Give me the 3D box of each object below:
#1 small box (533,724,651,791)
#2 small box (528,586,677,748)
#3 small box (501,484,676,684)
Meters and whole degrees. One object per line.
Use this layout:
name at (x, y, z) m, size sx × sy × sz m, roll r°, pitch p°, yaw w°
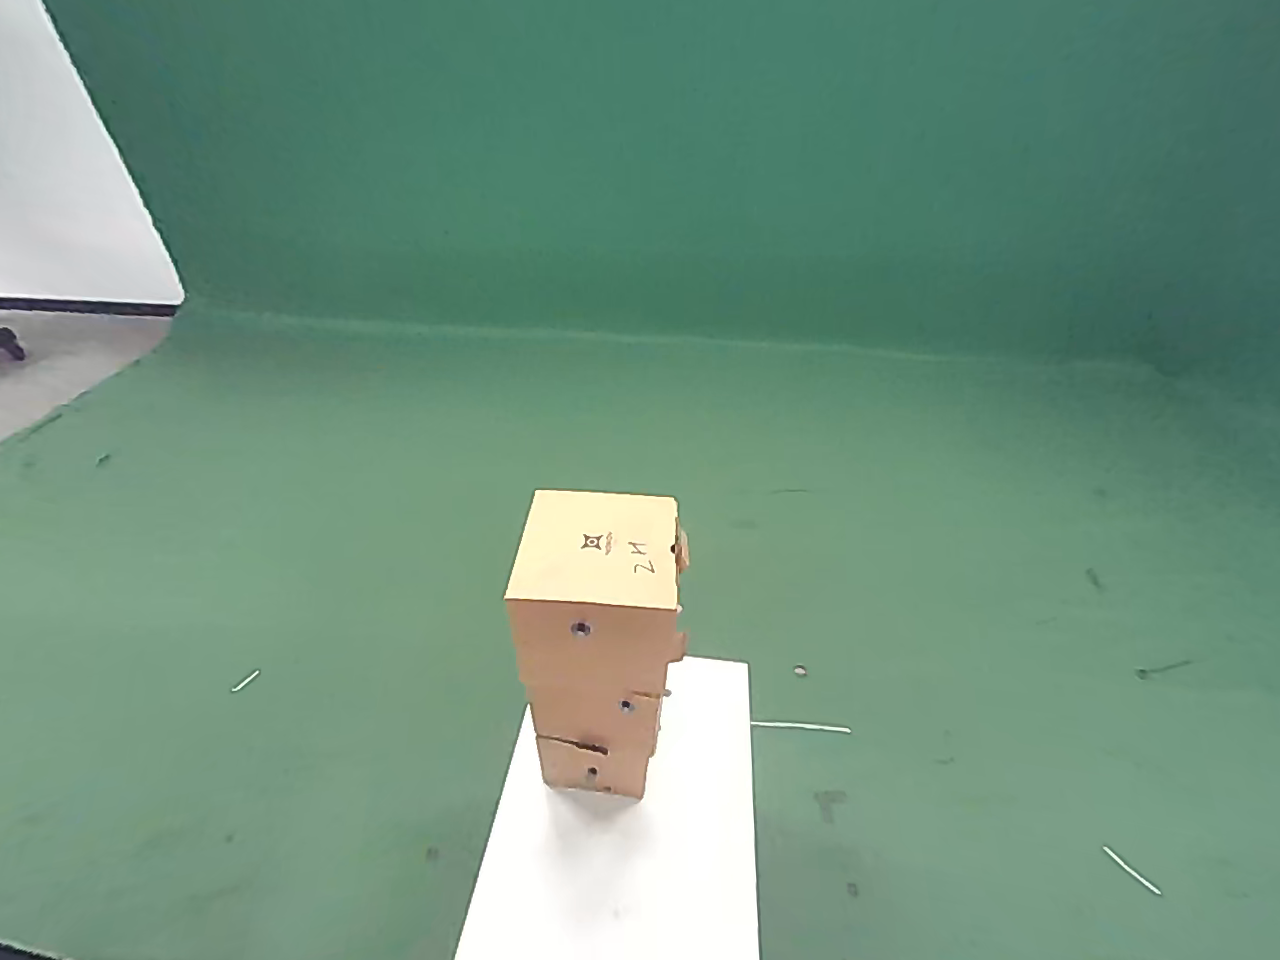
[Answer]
small box at (-0.061, 0.367, 0.861) m, size 0.168 × 0.176 × 0.179 m, roll 7°, pitch 41°, yaw 4°
small box at (-0.051, 0.246, 0.752) m, size 0.179 × 0.176 × 0.168 m, roll 9°, pitch 41°, yaw 6°
small box at (-0.051, 0.124, 0.642) m, size 0.179 × 0.176 × 0.168 m, roll 4°, pitch 41°, yaw 0°
